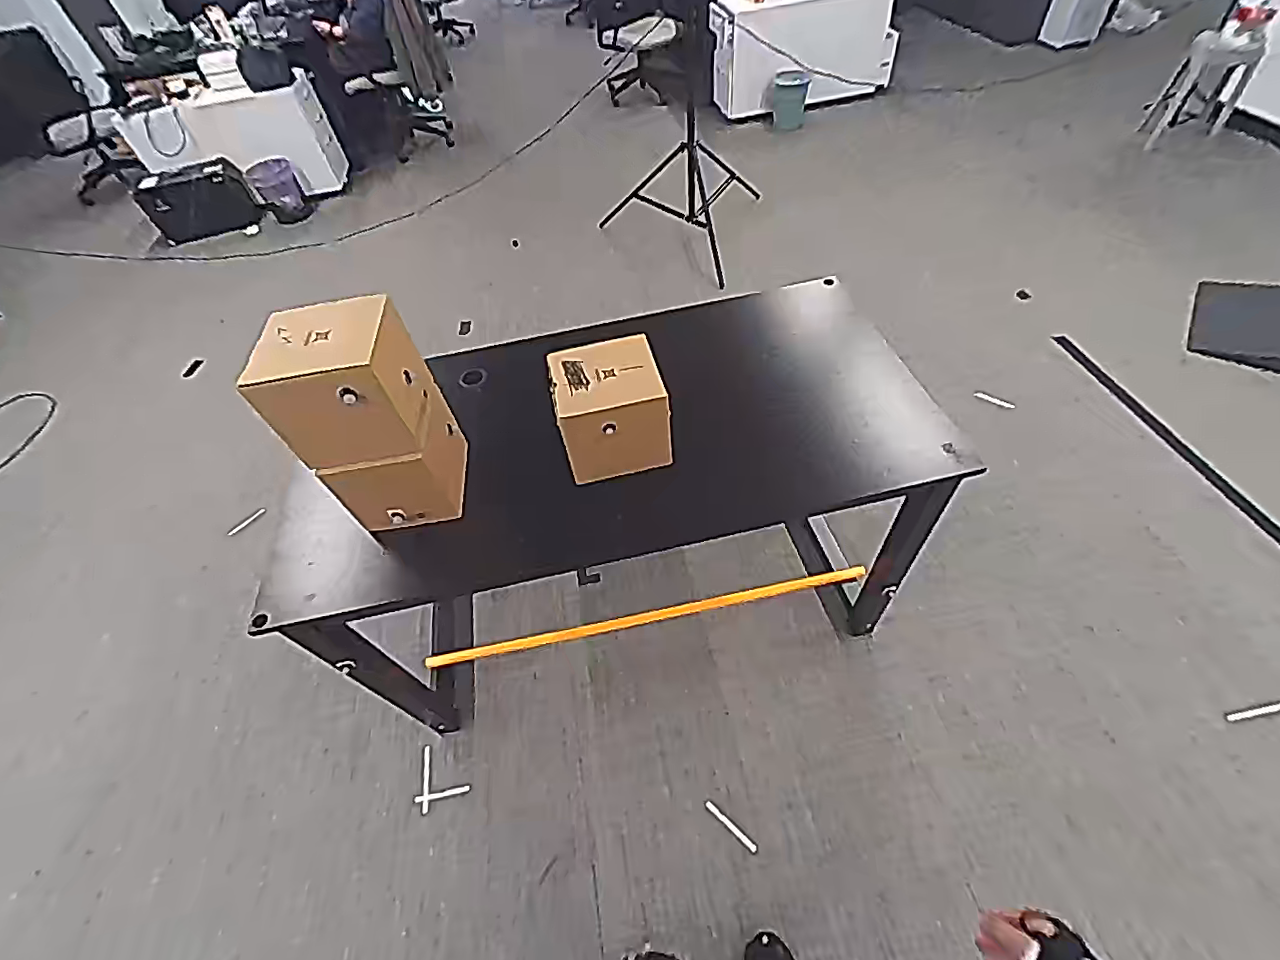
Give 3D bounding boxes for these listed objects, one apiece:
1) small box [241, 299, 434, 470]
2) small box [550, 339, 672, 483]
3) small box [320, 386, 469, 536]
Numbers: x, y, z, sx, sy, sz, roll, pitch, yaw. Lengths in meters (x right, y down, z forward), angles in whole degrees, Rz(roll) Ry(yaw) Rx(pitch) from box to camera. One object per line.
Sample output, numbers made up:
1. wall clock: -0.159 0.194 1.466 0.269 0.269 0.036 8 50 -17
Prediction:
1. small box: -0.424 -0.136 0.797 0.179 0.176 0.168 -10 51 0
2. small box: -0.047 -0.115 0.943 0.179 0.176 0.168 -13 52 -4
3. small box: -0.401 -0.030 0.922 0.168 0.176 0.179 -10 52 0
